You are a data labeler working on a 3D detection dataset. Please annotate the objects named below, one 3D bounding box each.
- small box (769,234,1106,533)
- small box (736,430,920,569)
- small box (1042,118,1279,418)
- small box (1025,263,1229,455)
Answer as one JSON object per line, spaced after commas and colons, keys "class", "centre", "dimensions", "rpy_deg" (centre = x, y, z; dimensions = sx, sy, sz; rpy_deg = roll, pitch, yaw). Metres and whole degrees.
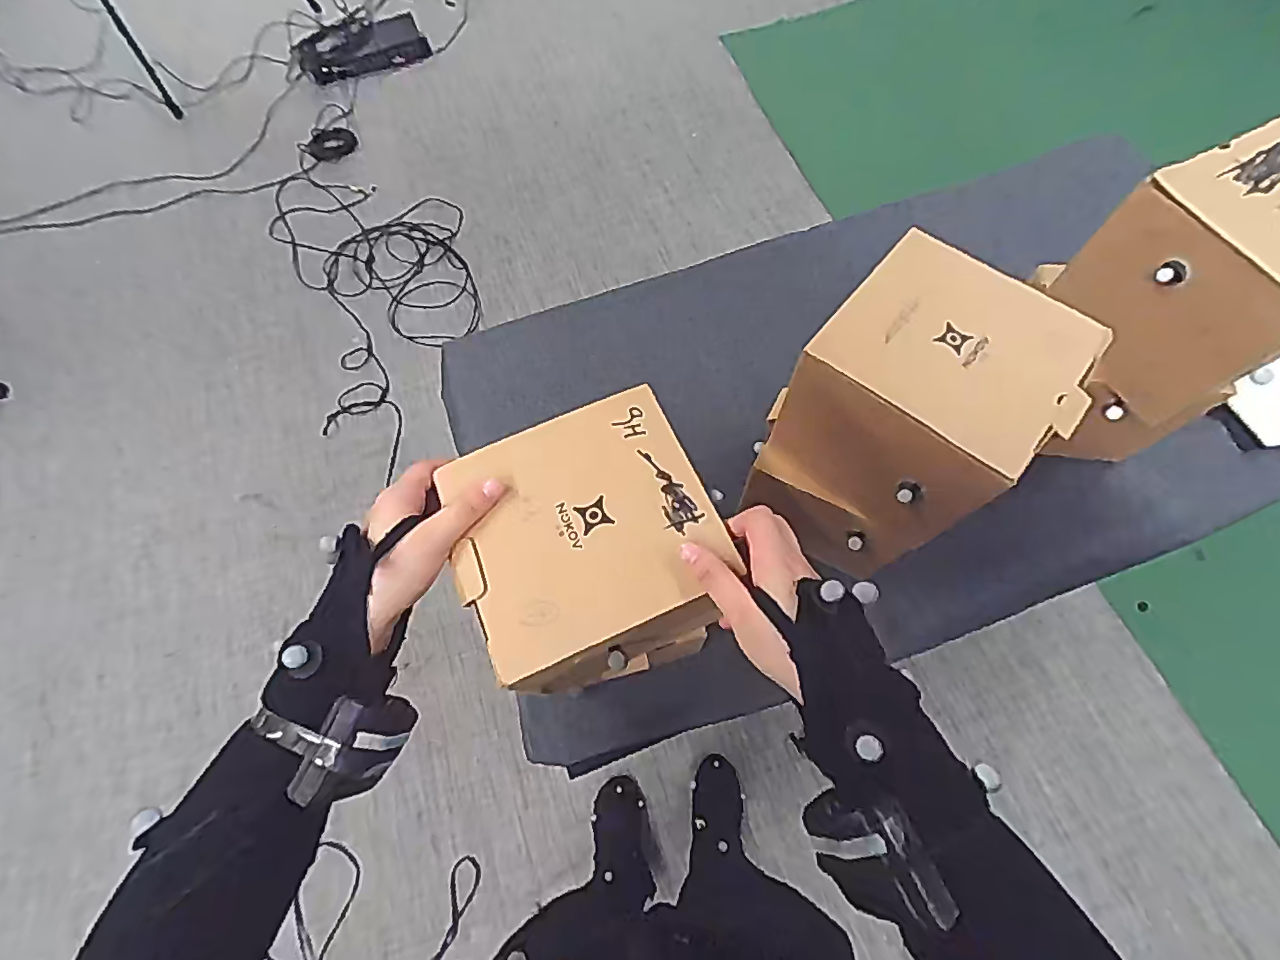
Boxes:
{"class": "small box", "centre": [0.242, -0.071, 0.487], "dimensions": [0.179, 0.176, 0.168], "rpy_deg": [38, 73, 17]}
{"class": "small box", "centre": [0.232, -0.010, 0.638], "dimensions": [0.179, 0.176, 0.168], "rpy_deg": [26, 71, 13]}
{"class": "small box", "centre": [0.545, -0.191, 0.518], "dimensions": [0.168, 0.176, 0.179], "rpy_deg": [-25, 69, -6]}
{"class": "small box", "centre": [0.547, -0.142, 0.675], "dimensions": [0.179, 0.176, 0.168], "rpy_deg": [6, 68, 7]}
